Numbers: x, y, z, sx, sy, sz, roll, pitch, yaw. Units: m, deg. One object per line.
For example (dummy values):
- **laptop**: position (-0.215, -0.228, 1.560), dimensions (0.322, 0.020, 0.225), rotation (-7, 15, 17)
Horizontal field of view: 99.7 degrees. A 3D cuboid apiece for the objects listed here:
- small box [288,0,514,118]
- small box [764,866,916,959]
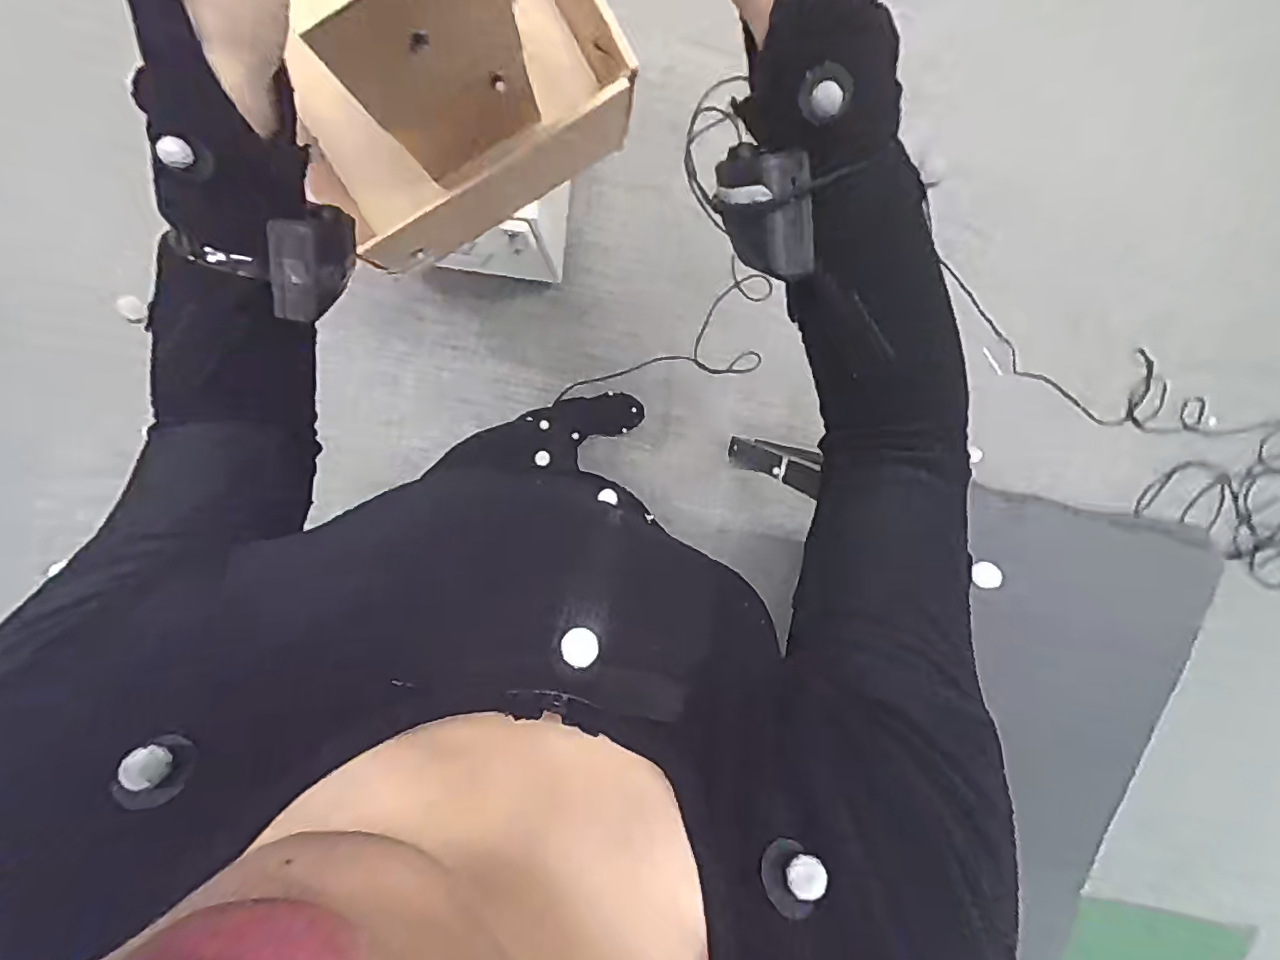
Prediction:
- **small box**: position (-0.229, -0.477, 0.482), dimensions (0.179, 0.176, 0.168), rotation (-29, 100, 3)
- **small box**: position (0.308, 0.749, 0.830), dimensions (0.168, 0.176, 0.179), rotation (16, 98, -9)
